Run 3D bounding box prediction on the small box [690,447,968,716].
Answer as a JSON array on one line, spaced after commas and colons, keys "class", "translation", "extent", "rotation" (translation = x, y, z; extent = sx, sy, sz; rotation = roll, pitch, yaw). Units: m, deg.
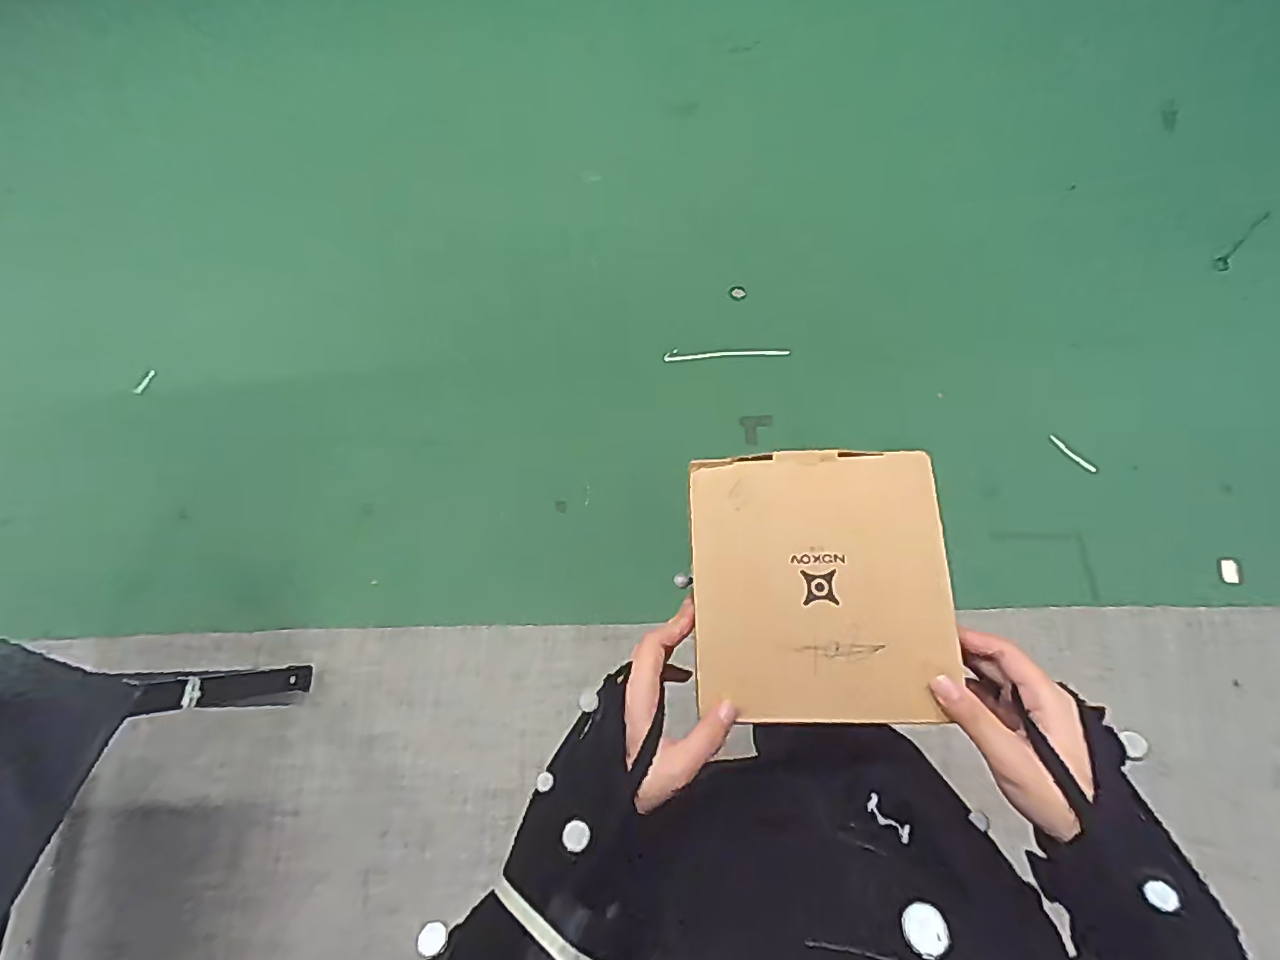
[{"class": "small box", "translation": [0.125, 0.083, 0.434], "extent": [0.168, 0.176, 0.179], "rotation": [-2, 76, 5]}]
